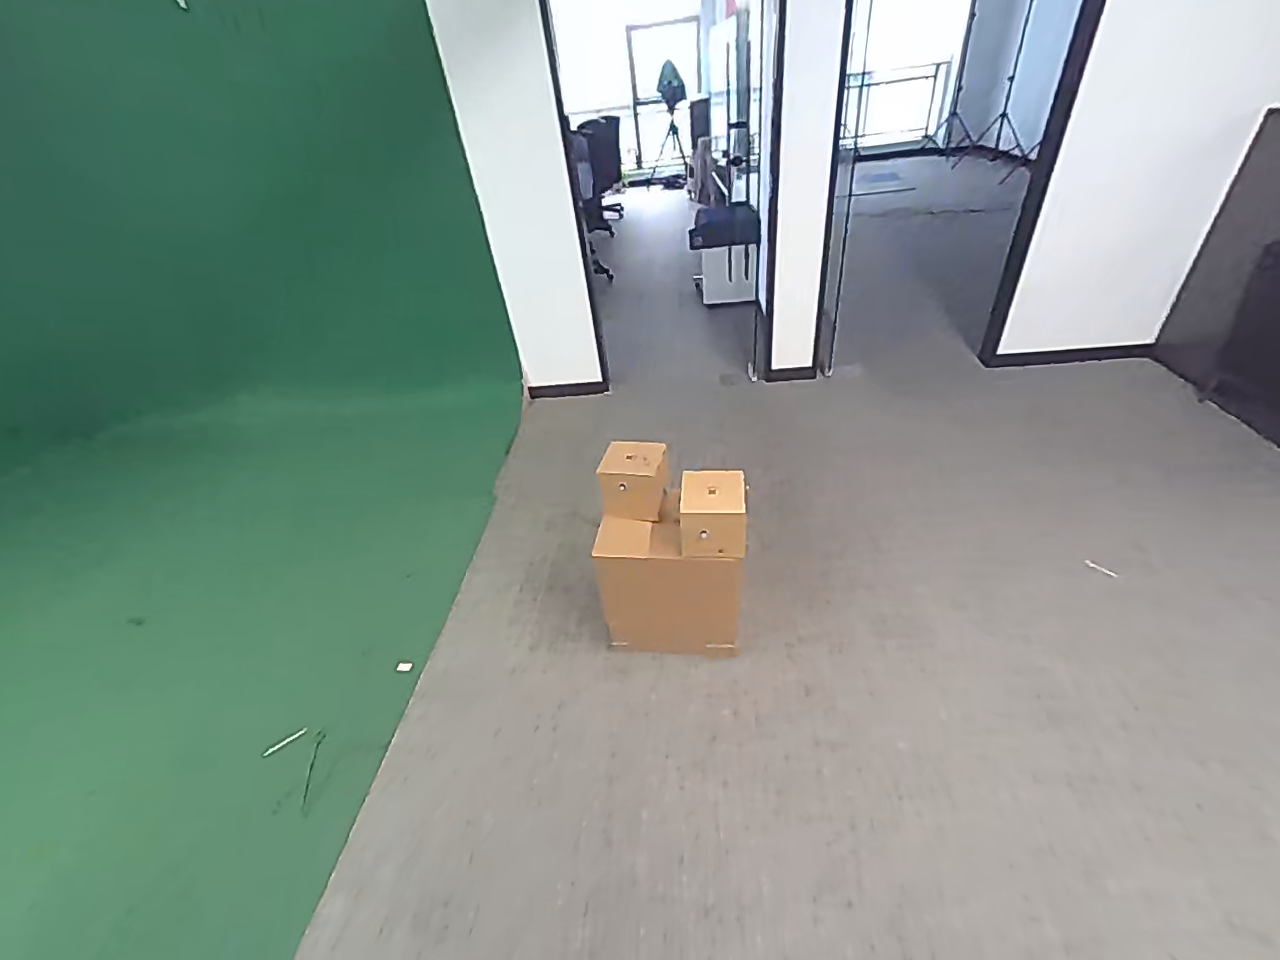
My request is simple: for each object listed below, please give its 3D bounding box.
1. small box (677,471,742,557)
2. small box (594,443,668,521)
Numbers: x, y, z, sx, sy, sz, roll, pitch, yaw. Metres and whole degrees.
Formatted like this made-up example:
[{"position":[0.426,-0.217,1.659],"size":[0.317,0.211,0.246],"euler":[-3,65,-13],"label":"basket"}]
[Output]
[{"position":[0.193,0.093,1.465],"size":[0.168,0.176,0.179],"euler":[0,38,8],"label":"small box"},{"position":[-0.020,0.005,1.617],"size":[0.179,0.176,0.168],"euler":[5,38,14],"label":"small box"}]
